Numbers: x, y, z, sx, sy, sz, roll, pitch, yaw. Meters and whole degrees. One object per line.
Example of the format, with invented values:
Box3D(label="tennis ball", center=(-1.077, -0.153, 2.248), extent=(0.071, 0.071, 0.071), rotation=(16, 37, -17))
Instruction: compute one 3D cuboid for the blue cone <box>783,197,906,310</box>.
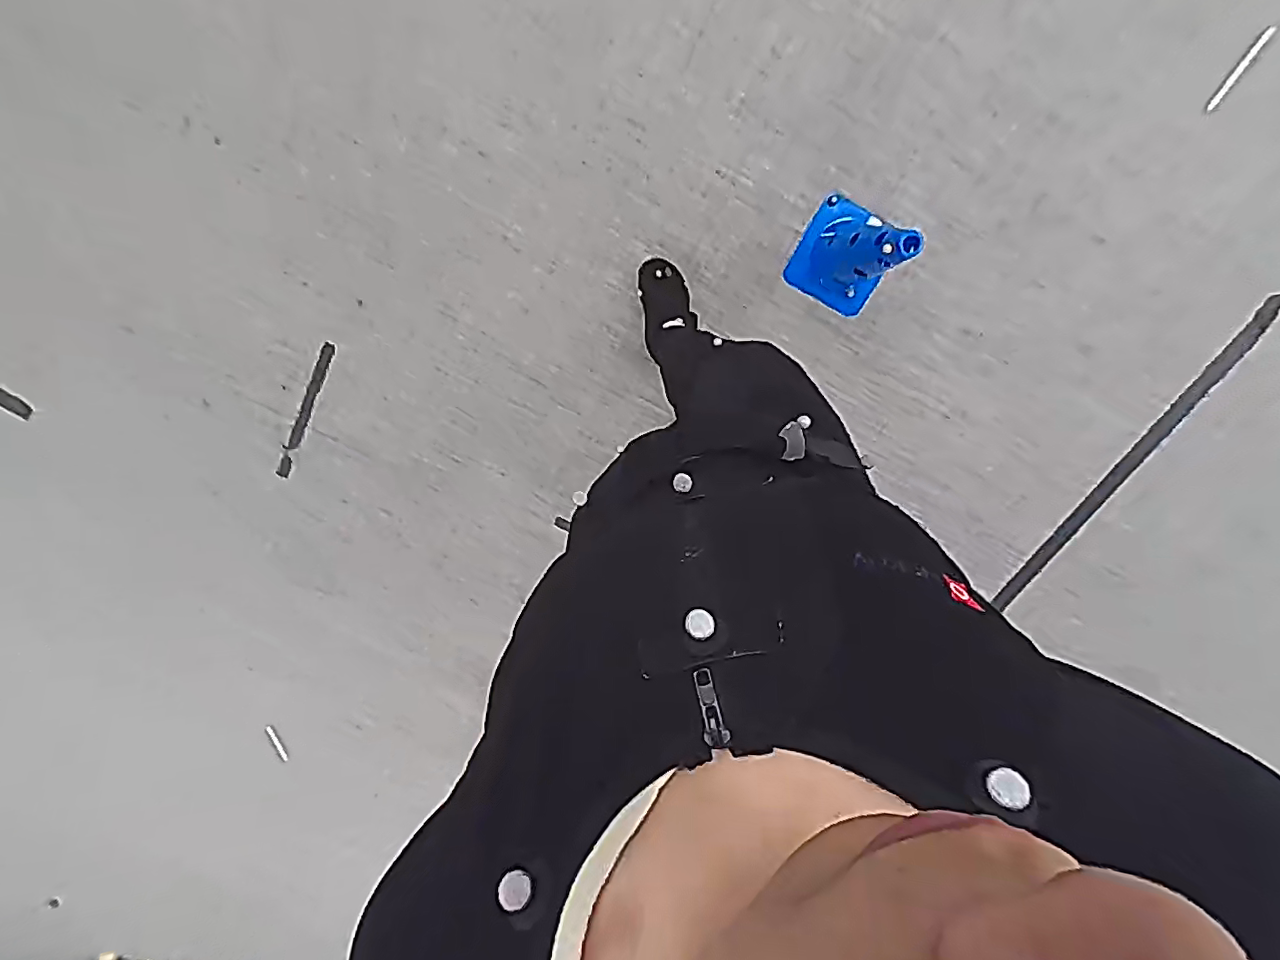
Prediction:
Box3D(label="blue cone", center=(0.422, -0.439, 1.028), extent=(0.192, 0.380, 0.193), rotation=(28, 108, -6))
